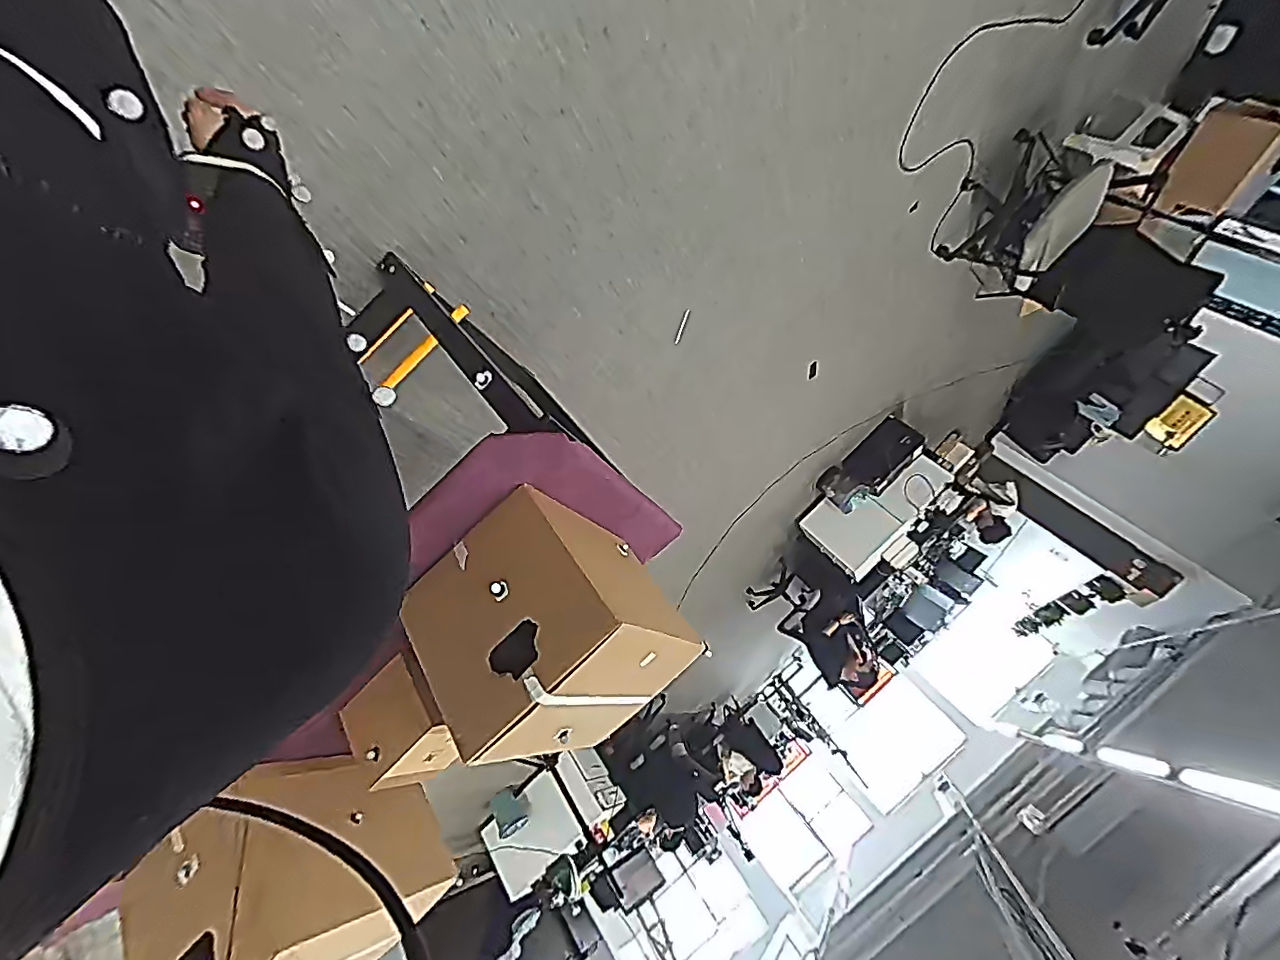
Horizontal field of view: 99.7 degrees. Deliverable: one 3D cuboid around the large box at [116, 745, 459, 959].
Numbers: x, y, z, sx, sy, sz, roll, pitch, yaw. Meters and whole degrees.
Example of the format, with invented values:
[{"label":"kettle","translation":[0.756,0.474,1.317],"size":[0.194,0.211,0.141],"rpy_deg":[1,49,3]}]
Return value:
[{"label":"large box","translation":[-0.645,0.755,1.028],"size":[0.320,0.320,0.408],"rpy_deg":[-45,150,2]}]
